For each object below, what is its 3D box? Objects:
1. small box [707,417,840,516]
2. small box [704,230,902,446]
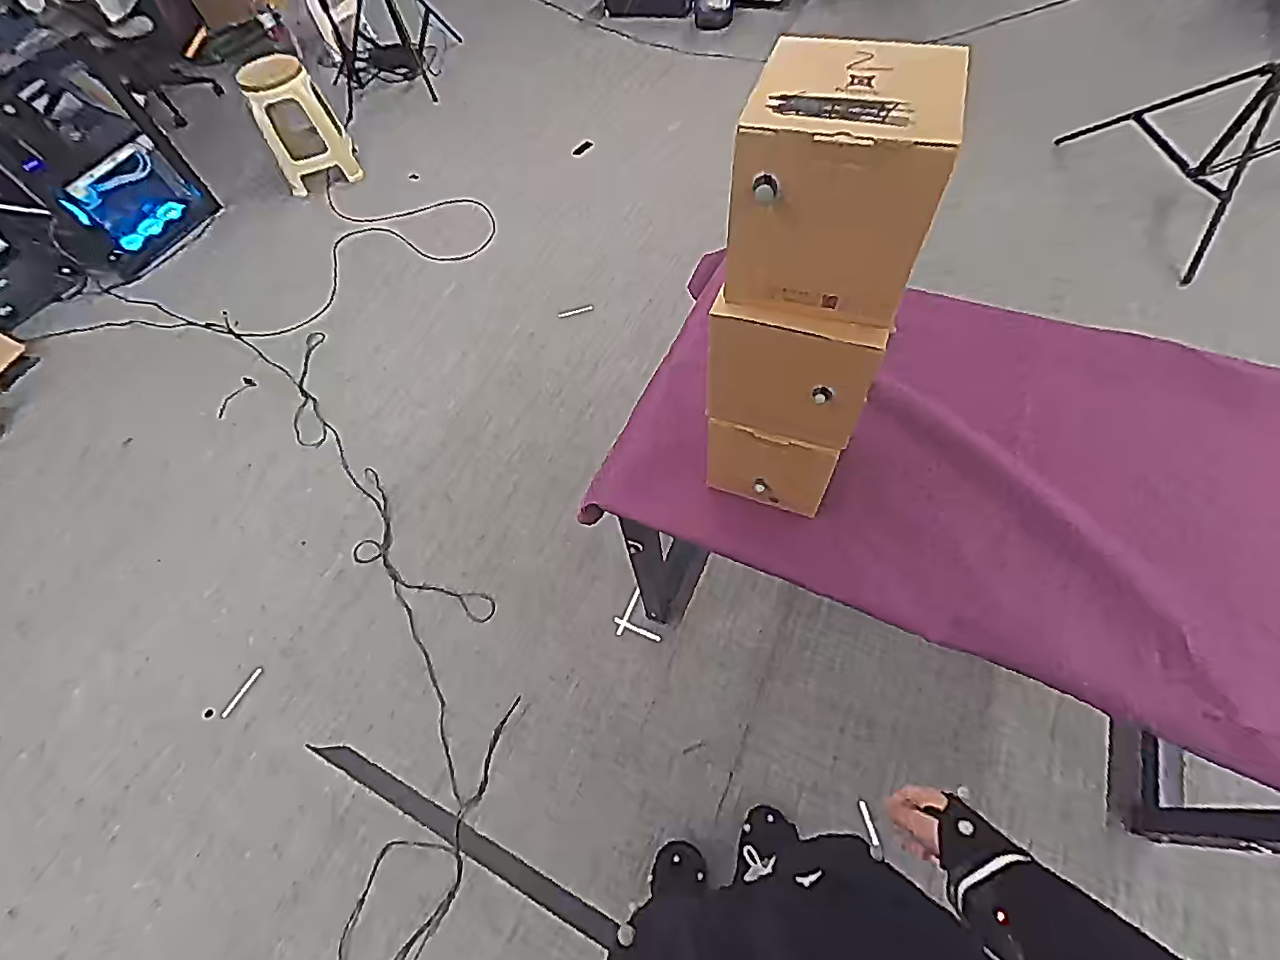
[{"bbox_3d":[0.198,-0.078,0.780,0.168,0.176,0.179,17,63,16],"label":"small box"},{"bbox_3d":[0.183,-0.163,0.643,0.179,0.176,0.168,16,60,16],"label":"small box"}]
